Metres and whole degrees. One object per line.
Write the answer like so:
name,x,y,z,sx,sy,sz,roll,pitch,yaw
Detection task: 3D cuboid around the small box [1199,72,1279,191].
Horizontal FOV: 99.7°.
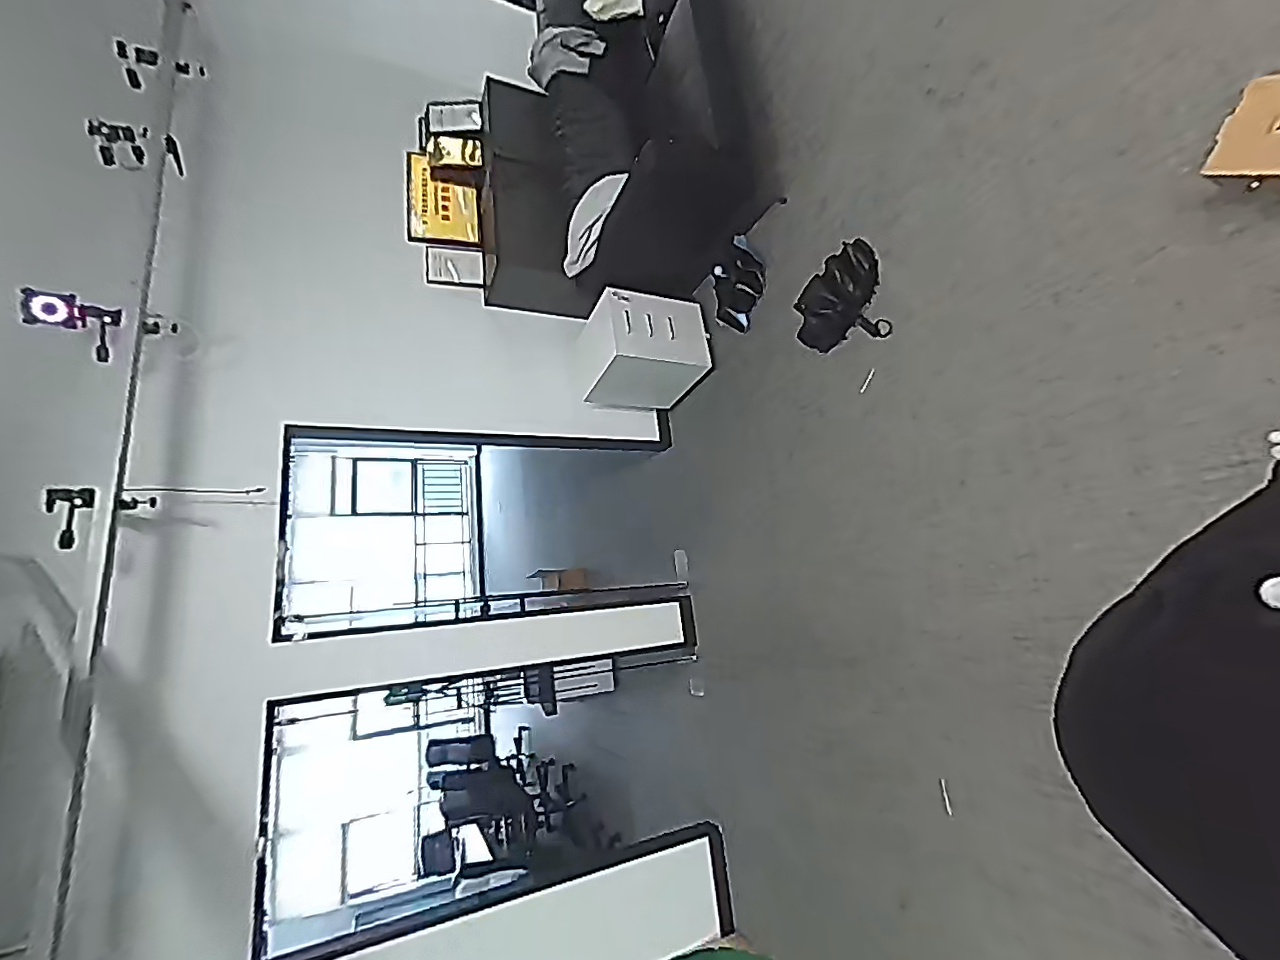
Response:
small box,1.240,-0.651,1.016,0.179,0.176,0.168,48,133,53
